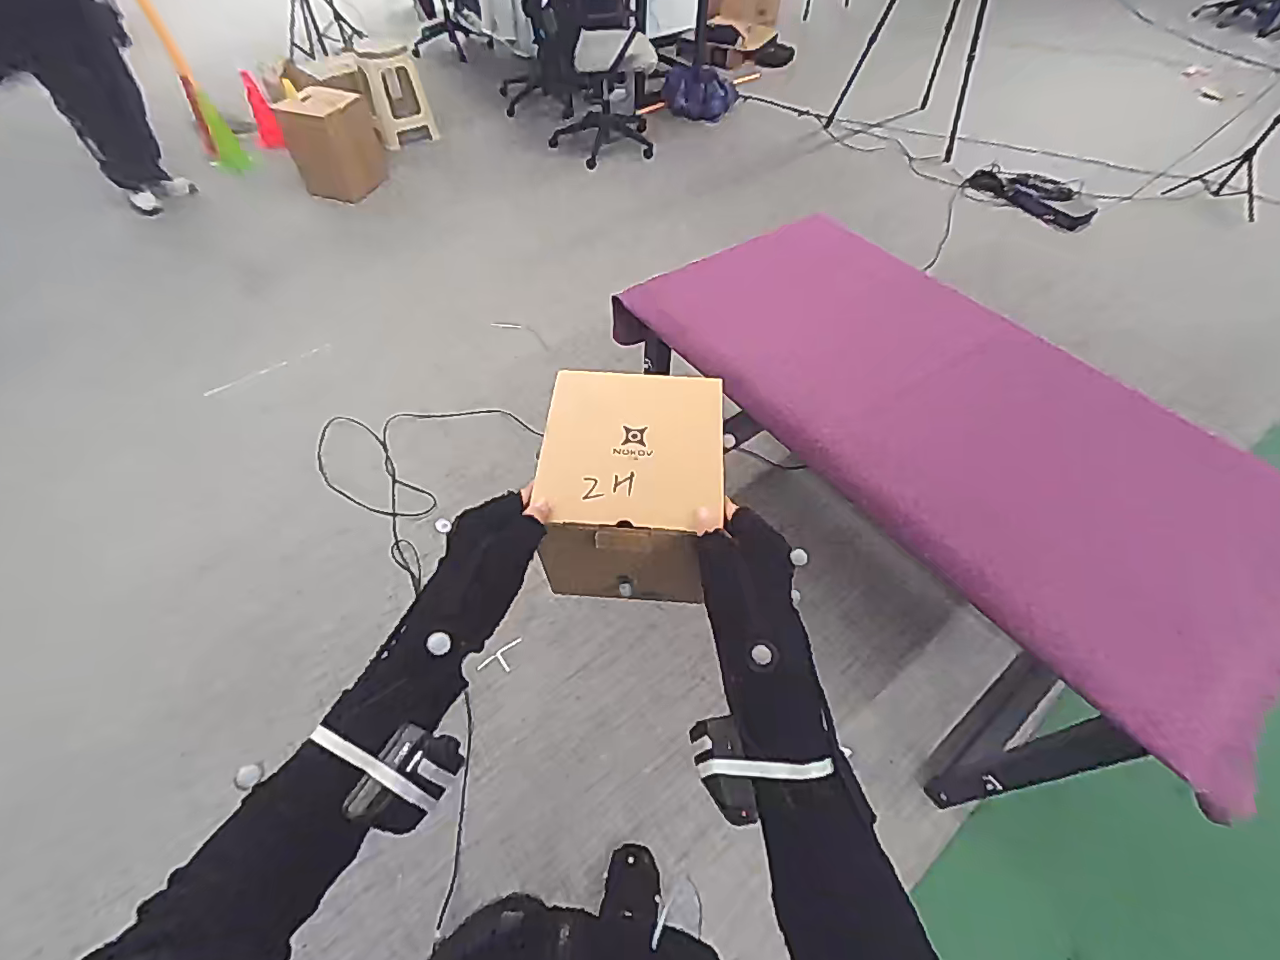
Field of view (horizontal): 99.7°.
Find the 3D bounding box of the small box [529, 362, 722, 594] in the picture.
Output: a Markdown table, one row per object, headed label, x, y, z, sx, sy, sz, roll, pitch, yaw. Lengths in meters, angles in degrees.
| label | x | y | z | sx | sy | sz | roll | pitch | yaw |
| --- | --- | --- | --- | --- | --- | --- | --- | --- | --- |
| small box | -0.007 | 0.002 | 0.567 | 0.168 | 0.176 | 0.179 | 4 | 59 | 3 |
